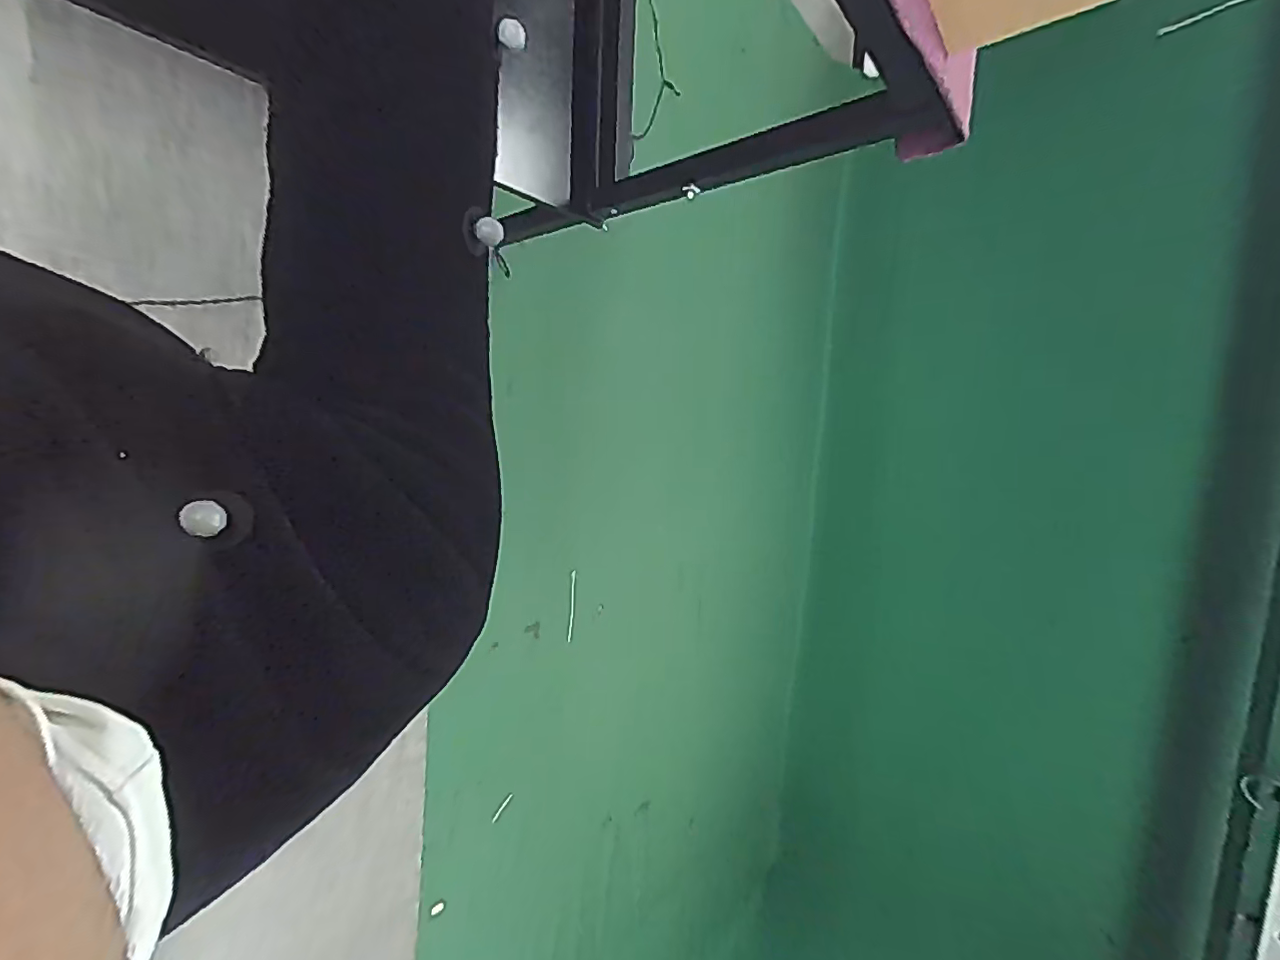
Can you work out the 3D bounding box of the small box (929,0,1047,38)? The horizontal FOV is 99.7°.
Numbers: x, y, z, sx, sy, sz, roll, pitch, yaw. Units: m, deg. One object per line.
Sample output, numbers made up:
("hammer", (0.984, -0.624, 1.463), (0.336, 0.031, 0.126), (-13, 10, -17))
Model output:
("small box", (0.396, -0.617, 0.560), (0.179, 0.176, 0.168), (3, 95, -49))
